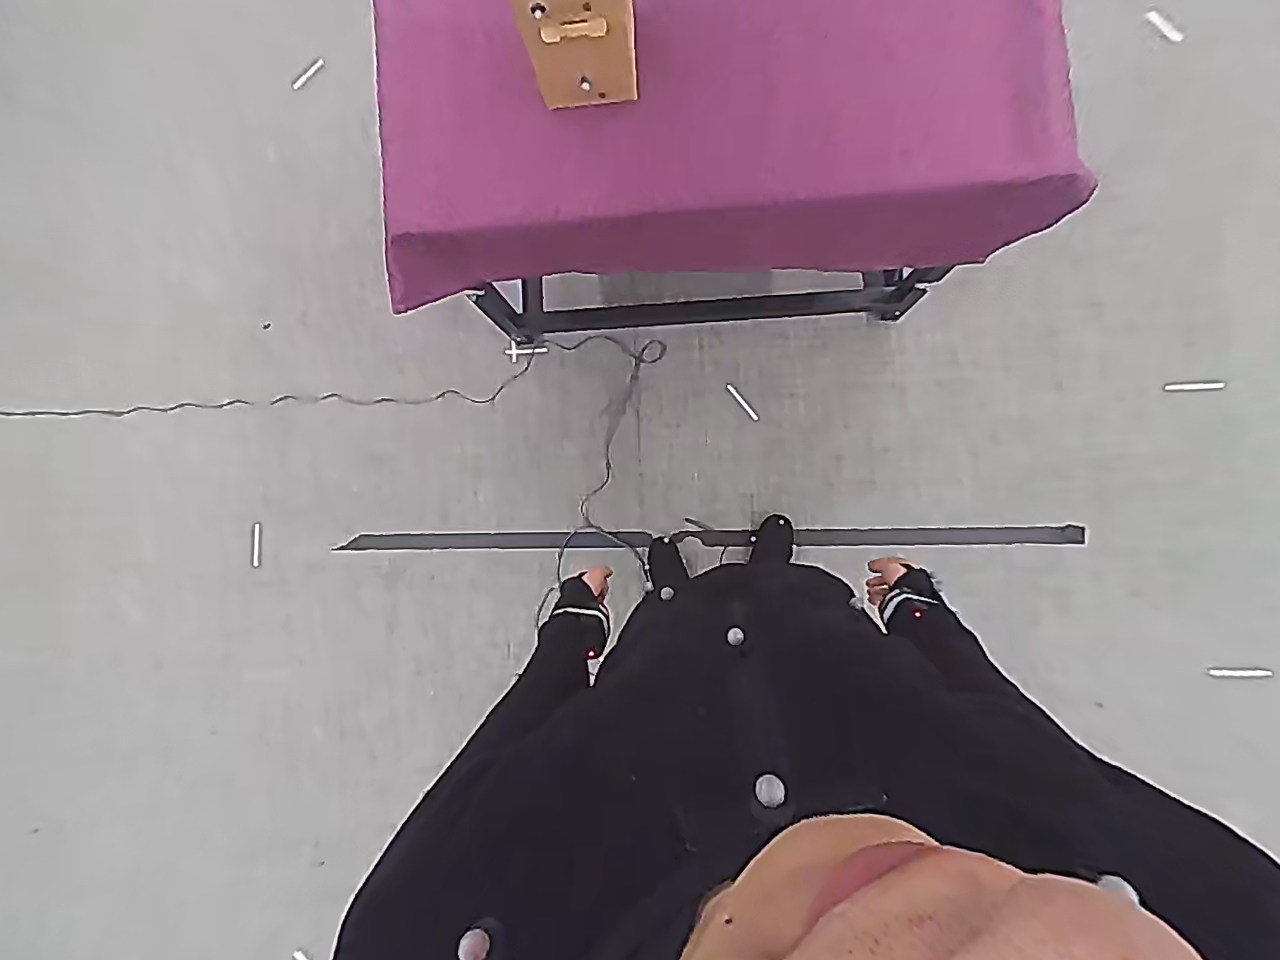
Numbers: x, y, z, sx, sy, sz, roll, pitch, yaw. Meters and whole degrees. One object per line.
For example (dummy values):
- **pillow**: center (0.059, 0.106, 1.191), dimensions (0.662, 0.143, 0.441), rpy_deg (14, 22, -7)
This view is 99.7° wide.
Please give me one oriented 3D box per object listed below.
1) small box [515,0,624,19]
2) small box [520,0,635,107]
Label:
- **small box**: center (-0.114, -0.783, 0.742), dimensions (0.168, 0.176, 0.179), rpy_deg (-6, 85, 4)
- **small box**: center (-0.098, -0.772, 0.905), dimensions (0.168, 0.176, 0.179), rpy_deg (-2, 86, 5)
